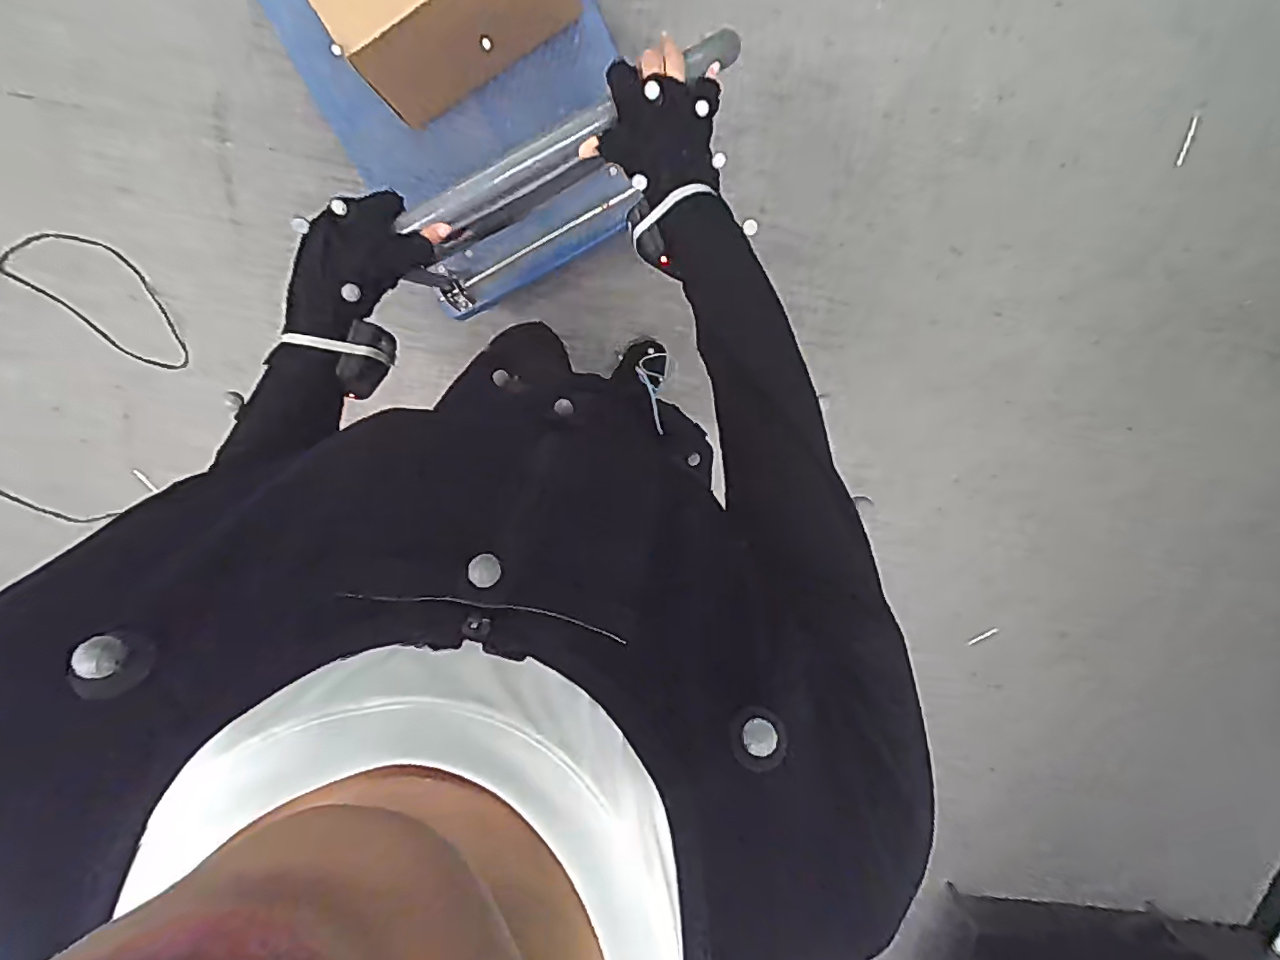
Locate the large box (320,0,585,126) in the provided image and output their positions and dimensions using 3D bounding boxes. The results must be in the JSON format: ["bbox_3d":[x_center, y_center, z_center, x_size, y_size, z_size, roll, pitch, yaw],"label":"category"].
[{"bbox_3d":[-0.344,-0.904,0.909,0.408,0.320,0.320,-32,105,7],"label":"large box"}]
